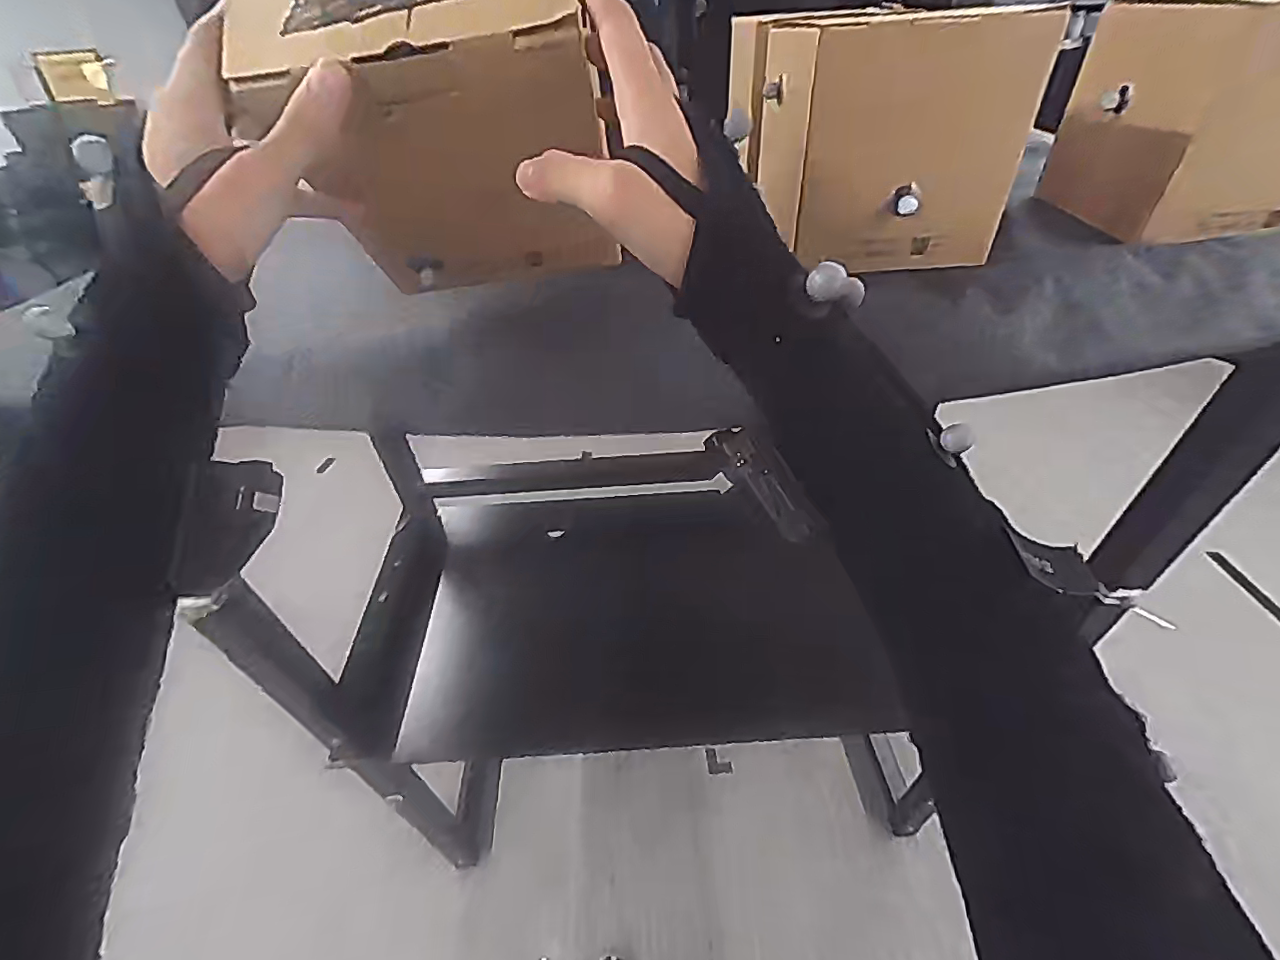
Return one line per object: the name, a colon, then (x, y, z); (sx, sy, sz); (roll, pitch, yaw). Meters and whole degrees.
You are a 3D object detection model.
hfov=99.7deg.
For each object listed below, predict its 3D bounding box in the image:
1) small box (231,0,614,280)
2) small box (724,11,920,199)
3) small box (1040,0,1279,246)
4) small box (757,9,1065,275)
small box: (-0.112, -0.248, 0.345); (0.168, 0.176, 0.179); (-7, 75, 2)
small box: (0.204, -0.456, 0.660); (0.179, 0.176, 0.168); (-3, 41, 1)
small box: (0.509, -0.320, 0.480); (0.168, 0.176, 0.179); (-2, 41, 3)
small box: (0.202, -0.291, 0.471); (0.168, 0.176, 0.179); (-3, 40, 2)
